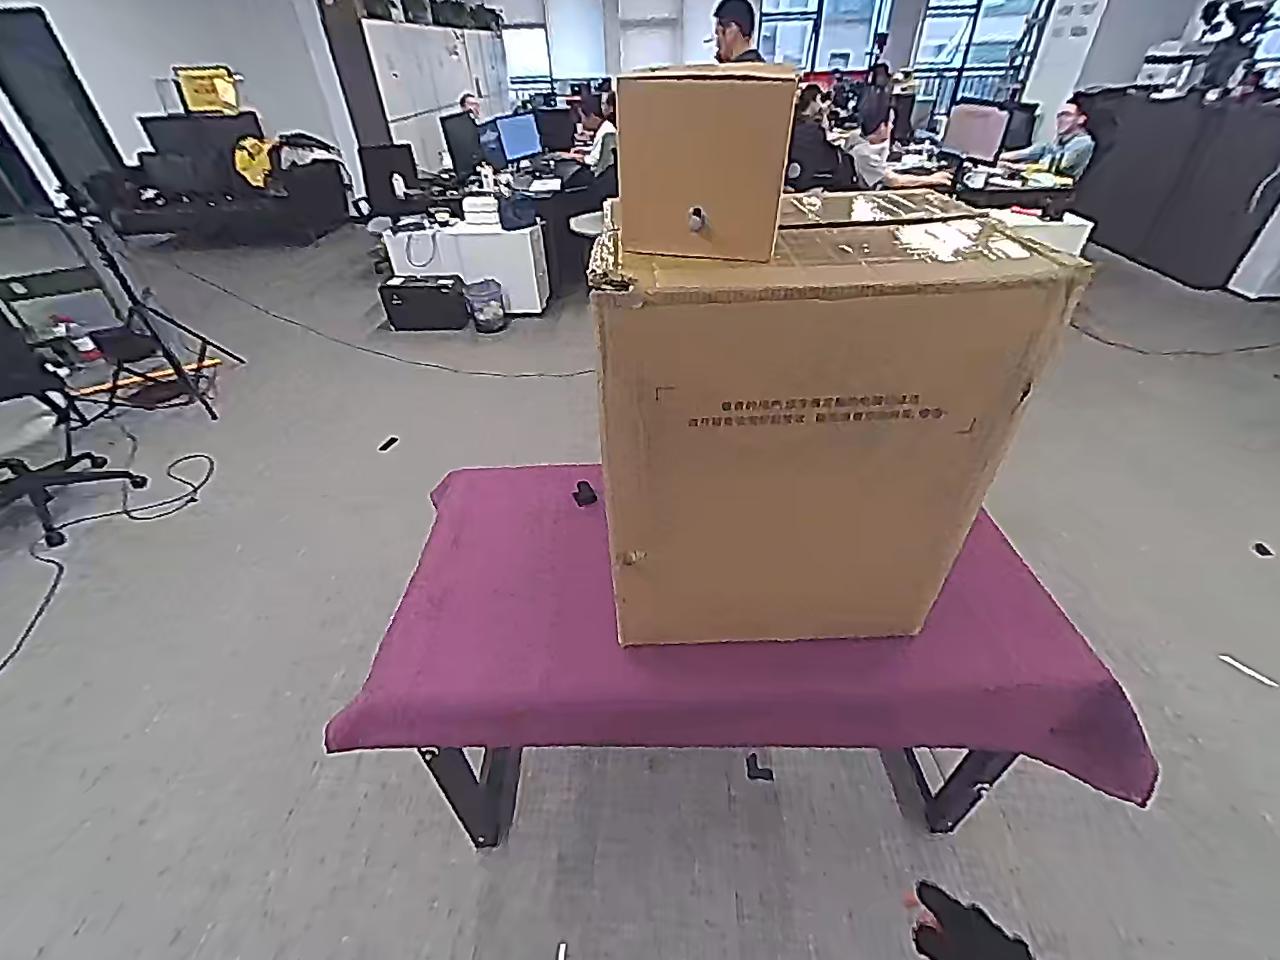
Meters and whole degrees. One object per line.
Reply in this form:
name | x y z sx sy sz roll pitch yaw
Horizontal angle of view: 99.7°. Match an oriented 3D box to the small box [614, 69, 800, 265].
small box | 0.078 -0.359 0.623 0.179 0.176 0.168 9 41 11
